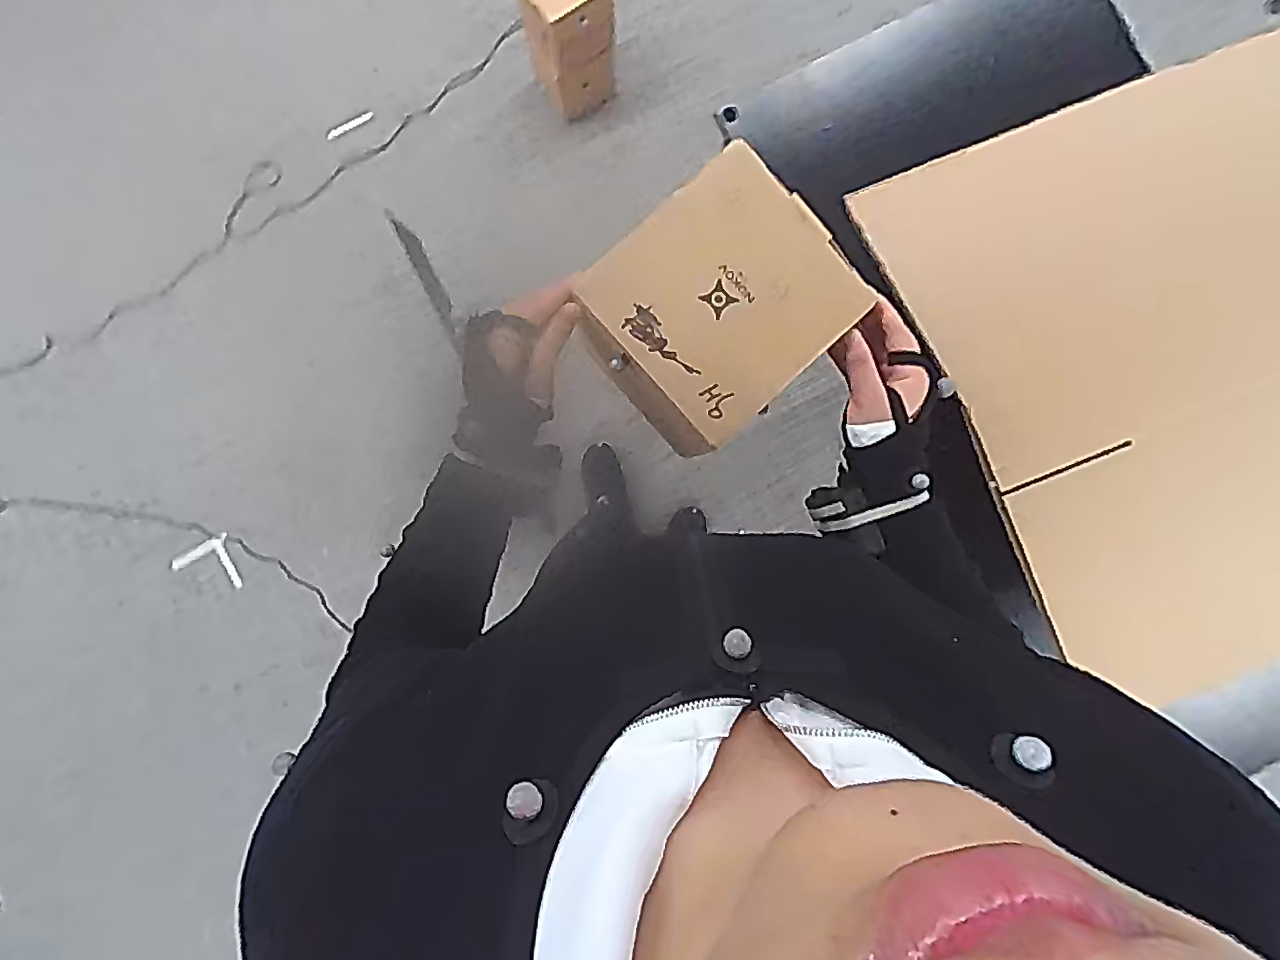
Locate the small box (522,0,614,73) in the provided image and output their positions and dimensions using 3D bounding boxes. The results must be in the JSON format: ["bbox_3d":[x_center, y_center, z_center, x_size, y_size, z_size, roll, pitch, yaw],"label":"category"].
[{"bbox_3d":[-0.175,-1.146,1.307,0.179,0.176,0.168,-35,90,-2],"label":"small box"}]

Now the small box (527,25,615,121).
[{"bbox_3d":[-0.180,-1.136,1.469,0.179,0.176,0.168,-31,88,0],"label":"small box"}]

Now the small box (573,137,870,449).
[{"bbox_3d":[0.058,-0.146,0.489,0.179,0.176,0.168,-44,92,-3],"label":"small box"}]
